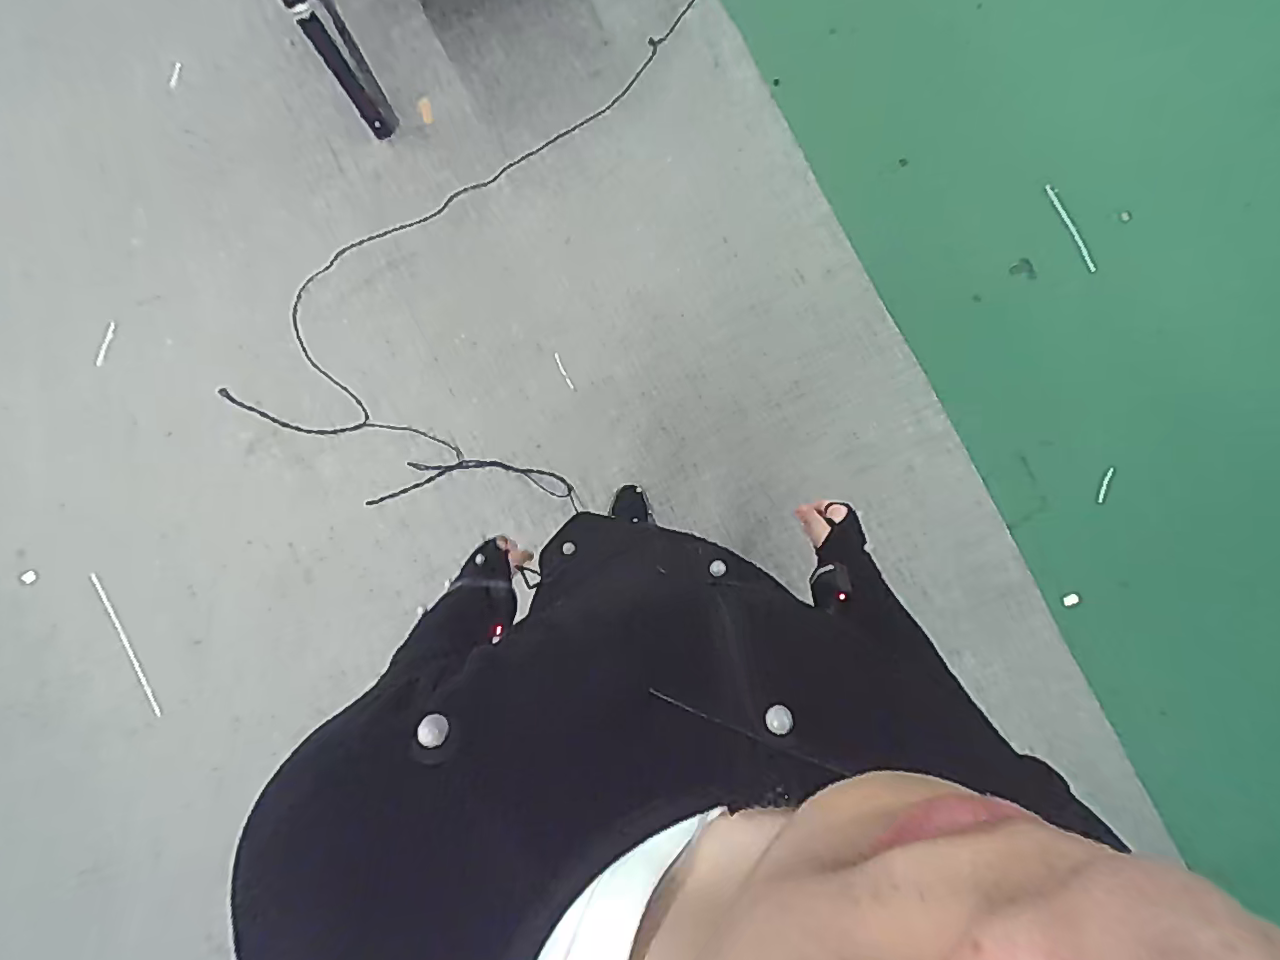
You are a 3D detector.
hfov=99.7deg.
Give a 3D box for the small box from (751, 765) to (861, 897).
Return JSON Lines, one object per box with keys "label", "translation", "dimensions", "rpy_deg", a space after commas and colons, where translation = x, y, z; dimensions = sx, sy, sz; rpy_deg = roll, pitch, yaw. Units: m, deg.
{"label": "small box", "translation": [0.388, 0.827, 1.293], "dimensions": [0.168, 0.176, 0.179], "rpy_deg": [-25, 87, -5]}
